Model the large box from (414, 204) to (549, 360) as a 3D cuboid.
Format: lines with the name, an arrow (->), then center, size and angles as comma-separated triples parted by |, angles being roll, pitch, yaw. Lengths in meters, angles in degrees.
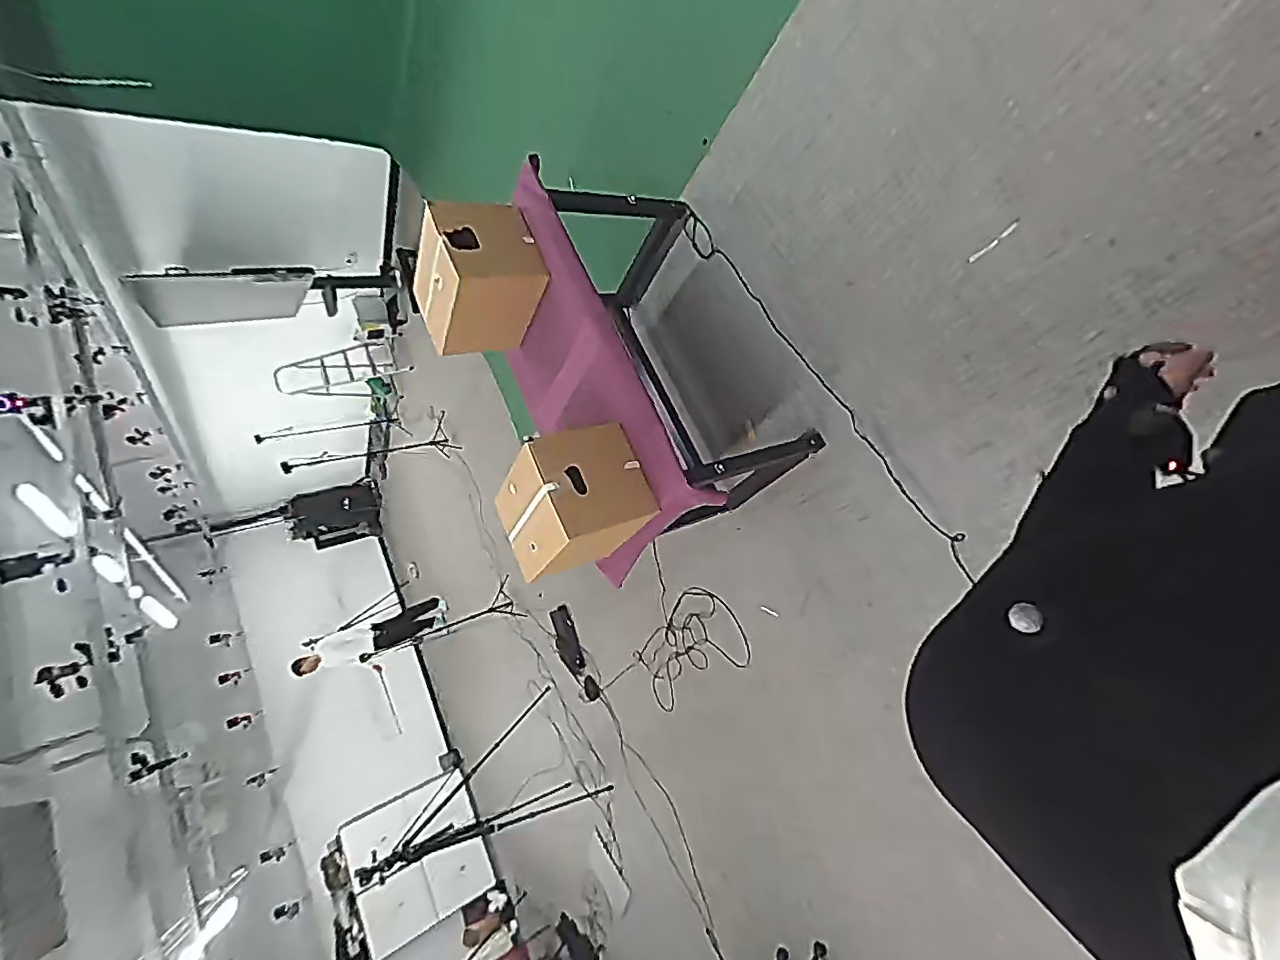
large box -> -0.561, -0.669, 1.874 | 0.408, 0.320, 0.320 | -43, 68, 52
